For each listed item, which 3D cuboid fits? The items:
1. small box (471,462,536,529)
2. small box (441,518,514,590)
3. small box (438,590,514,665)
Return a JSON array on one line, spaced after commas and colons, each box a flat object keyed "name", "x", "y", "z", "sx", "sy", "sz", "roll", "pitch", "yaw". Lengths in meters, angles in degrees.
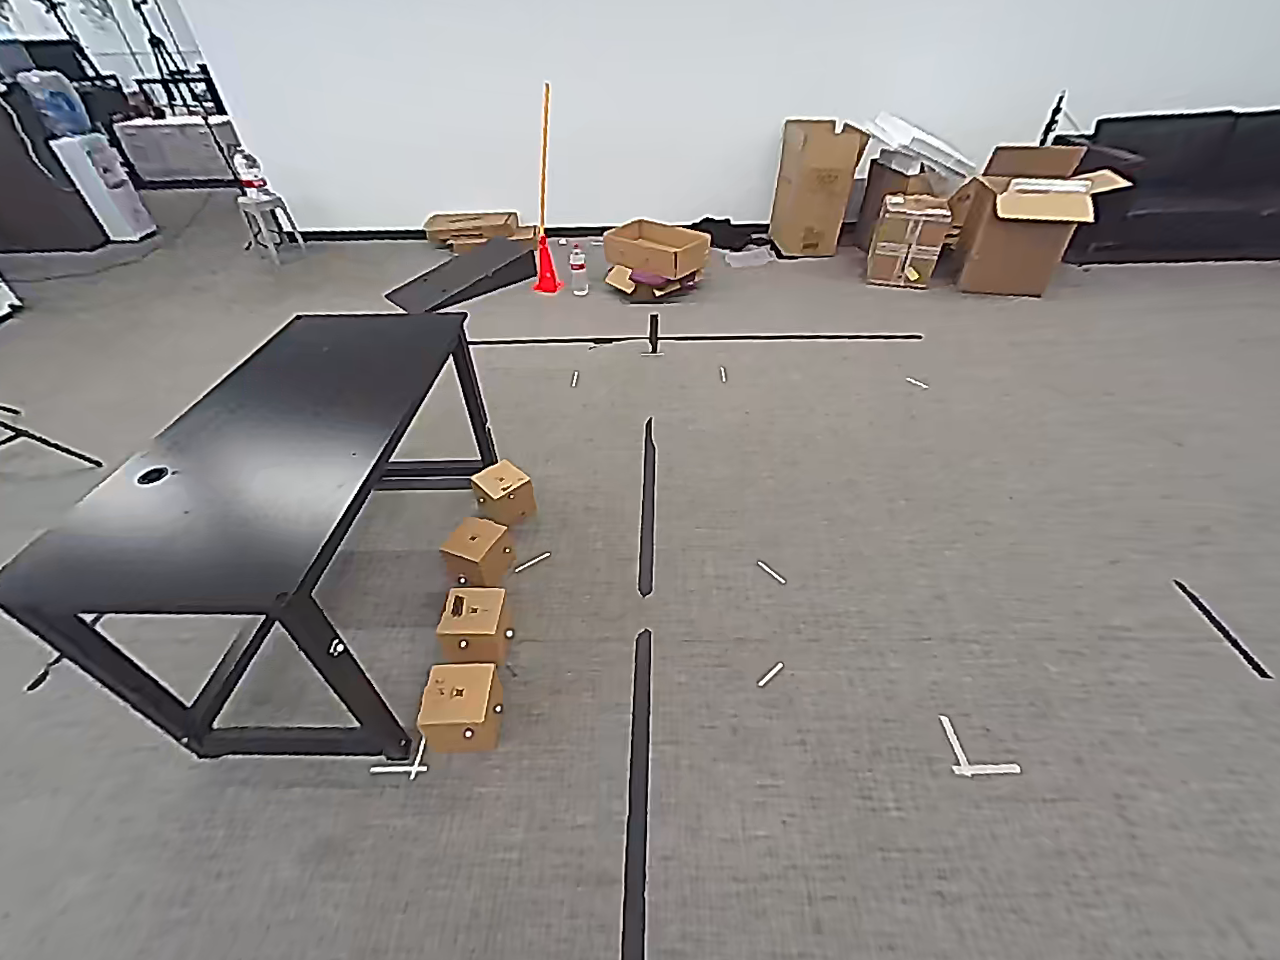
[{"name": "small box", "x": -0.534, "y": 0.064, "z": 2.130, "sx": 0.179, "sy": 0.176, "sz": 0.168, "roll": 32, "pitch": 52, "yaw": 32}, {"name": "small box", "x": -0.563, "y": 0.266, "z": 1.906, "sx": 0.168, "sy": 0.176, "sz": 0.179, "roll": 13, "pitch": 45, "yaw": 18}, {"name": "small box", "x": -0.503, "y": 0.460, "z": 1.683, "sx": 0.179, "sy": 0.176, "sz": 0.168, "roll": 0, "pitch": 42, "yaw": 0}]
